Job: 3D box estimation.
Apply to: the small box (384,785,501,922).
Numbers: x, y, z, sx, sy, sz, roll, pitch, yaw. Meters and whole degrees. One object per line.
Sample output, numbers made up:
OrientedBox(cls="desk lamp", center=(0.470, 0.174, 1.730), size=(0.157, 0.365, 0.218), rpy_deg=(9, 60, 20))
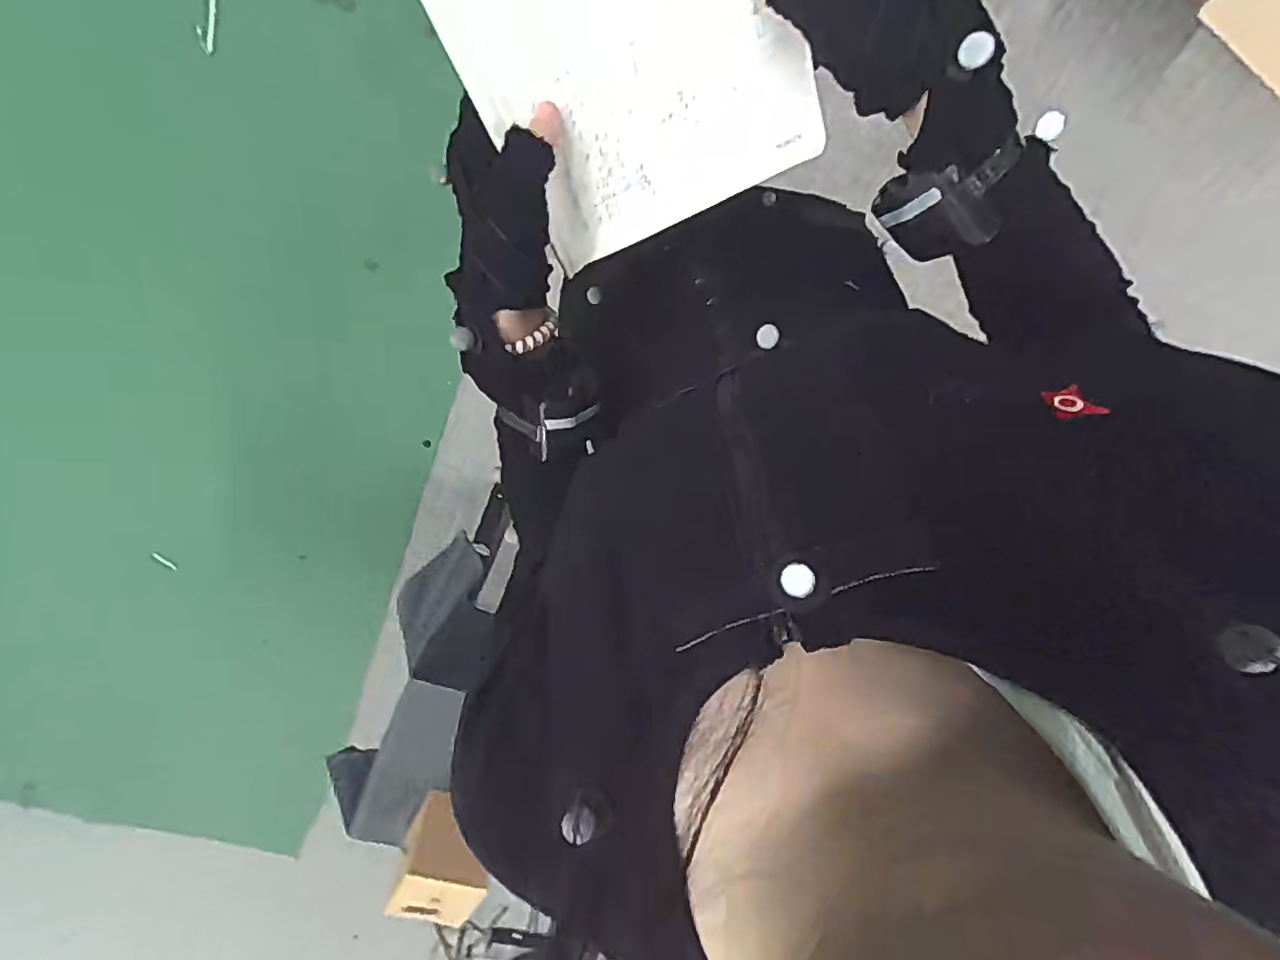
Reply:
OrientedBox(cls="small box", center=(-0.411, 0.790, 1.148), size=(0.168, 0.176, 0.179), rpy_deg=(24, 116, -16))
